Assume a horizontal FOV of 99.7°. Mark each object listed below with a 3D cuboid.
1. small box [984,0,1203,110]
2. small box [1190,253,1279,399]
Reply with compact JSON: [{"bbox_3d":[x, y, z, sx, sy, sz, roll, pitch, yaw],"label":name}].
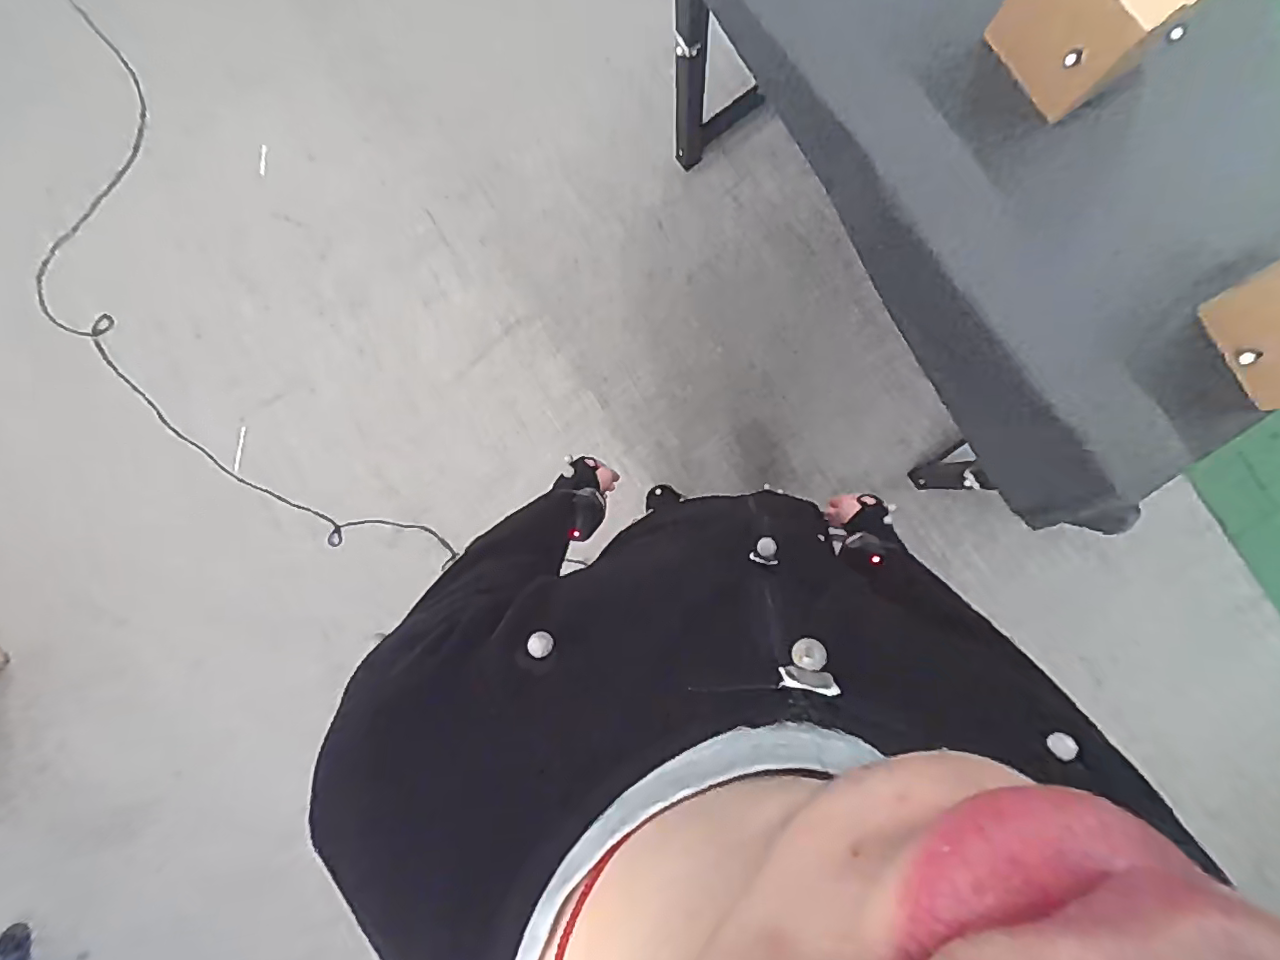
[{"bbox_3d":[0.622,-0.648,0.728,0.168,0.176,0.179,-35,88,1],"label":"small box"},{"bbox_3d":[0.915,-0.220,0.715,0.168,0.176,0.179,-31,89,3],"label":"small box"}]
